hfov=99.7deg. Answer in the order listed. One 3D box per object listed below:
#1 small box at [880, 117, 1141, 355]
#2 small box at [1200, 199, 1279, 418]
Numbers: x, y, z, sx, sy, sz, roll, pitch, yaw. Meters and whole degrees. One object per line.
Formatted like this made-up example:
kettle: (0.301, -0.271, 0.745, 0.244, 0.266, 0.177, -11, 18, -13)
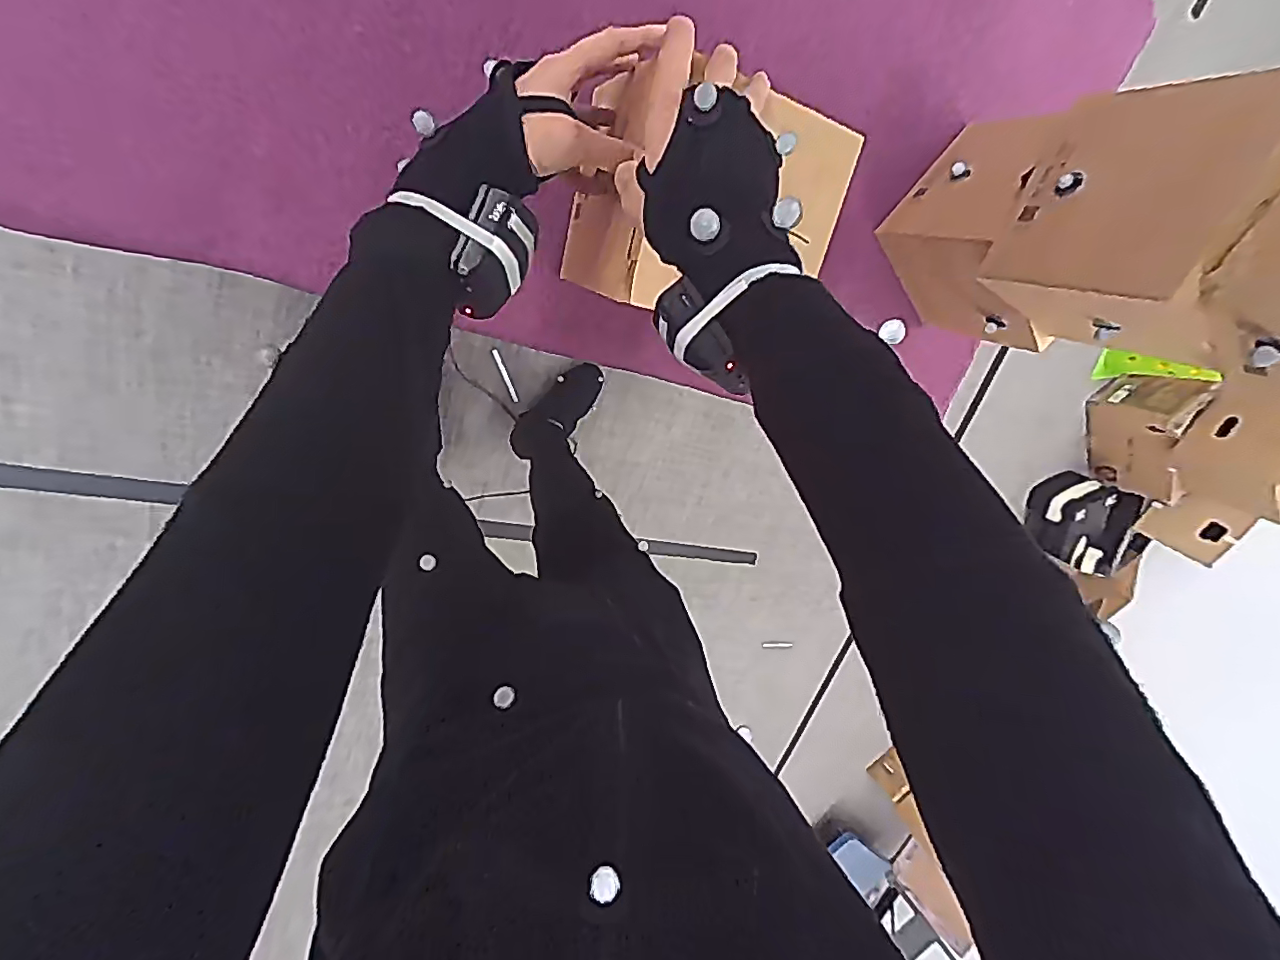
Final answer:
small box: (0.424, -0.280, 0.632, 0.168, 0.176, 0.179, -48, 124, 4)
small box: (0.545, -0.137, 0.362, 0.168, 0.176, 0.179, 34, 99, -32)
